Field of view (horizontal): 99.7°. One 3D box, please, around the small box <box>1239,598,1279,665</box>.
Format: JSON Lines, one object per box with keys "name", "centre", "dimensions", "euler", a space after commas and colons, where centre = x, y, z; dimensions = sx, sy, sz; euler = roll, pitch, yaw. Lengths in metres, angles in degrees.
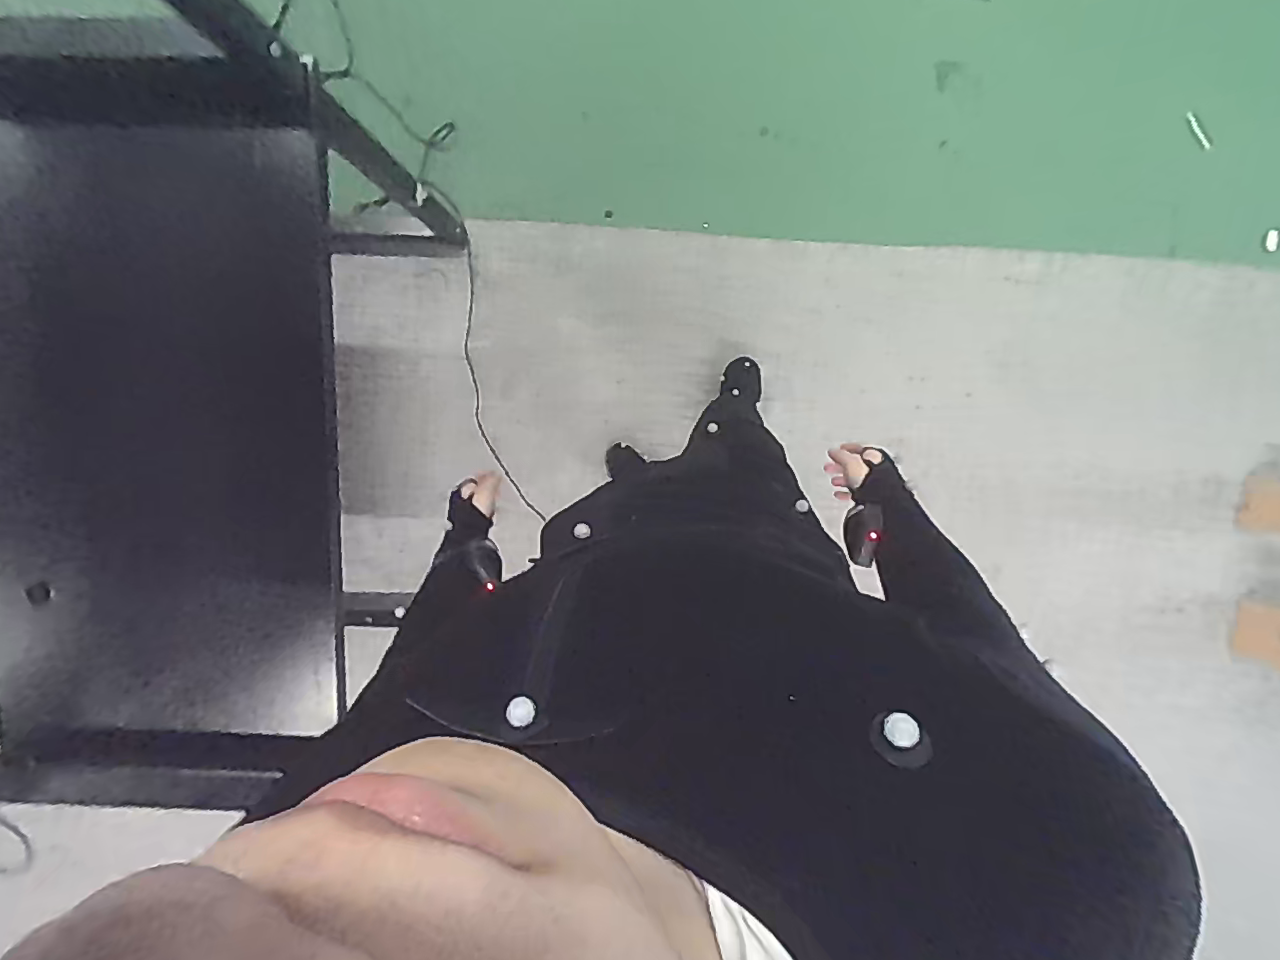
{"name": "small box", "centre": [1.910, 0.451, 1.563], "dimensions": [0.168, 0.176, 0.179], "euler": [4, 97, 1]}
